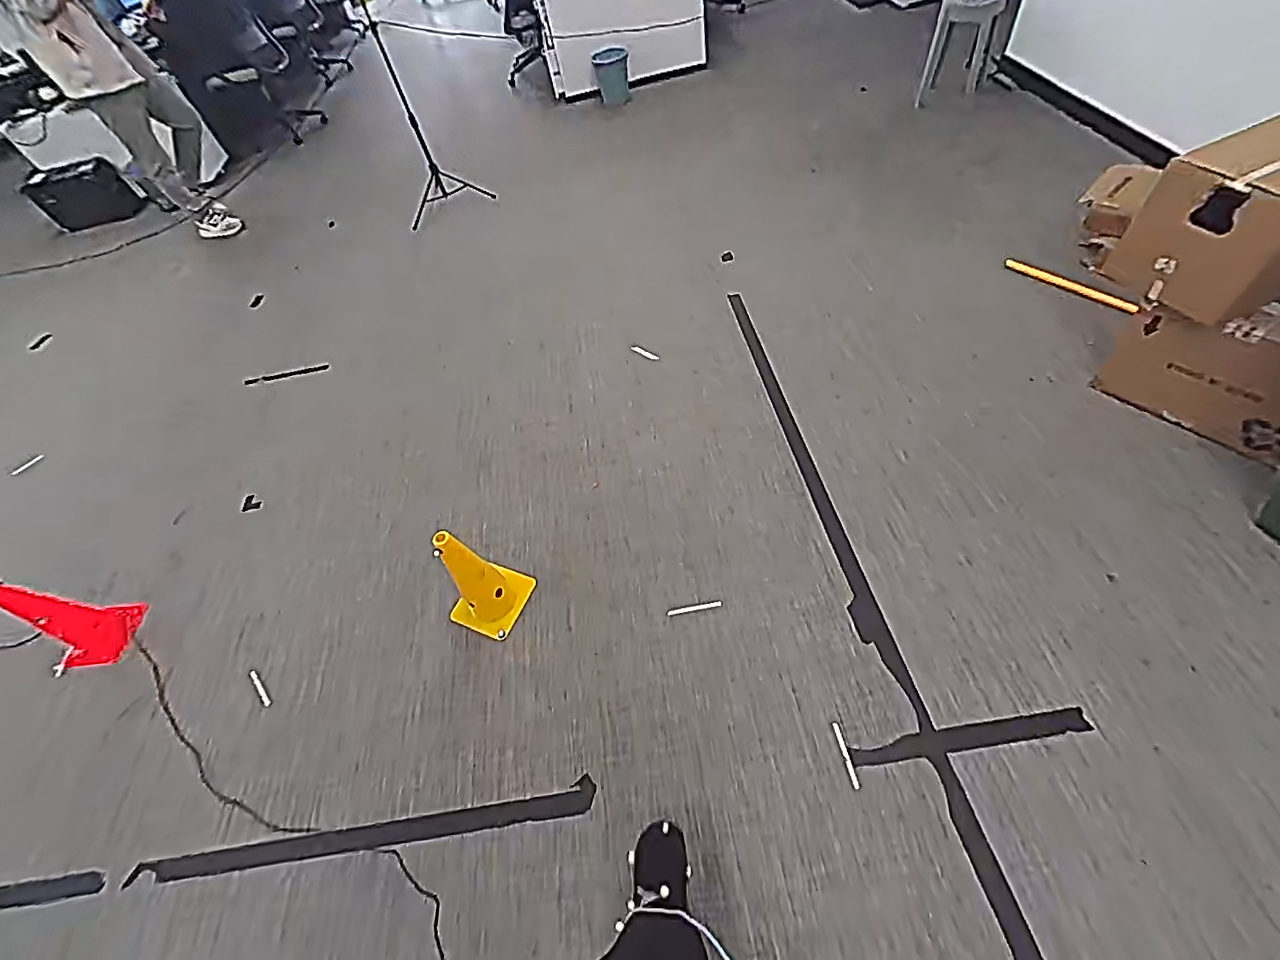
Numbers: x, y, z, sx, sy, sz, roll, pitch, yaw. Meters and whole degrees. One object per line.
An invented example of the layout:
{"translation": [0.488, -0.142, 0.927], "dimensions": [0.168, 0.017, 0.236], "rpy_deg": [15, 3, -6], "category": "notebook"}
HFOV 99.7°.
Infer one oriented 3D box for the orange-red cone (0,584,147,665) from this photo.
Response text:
{"translation": [-1.737, 0.394, 1.603], "dimensions": [0.199, 0.360, 0.198], "rpy_deg": [-5, 54, 6], "category": "orange-red cone"}
